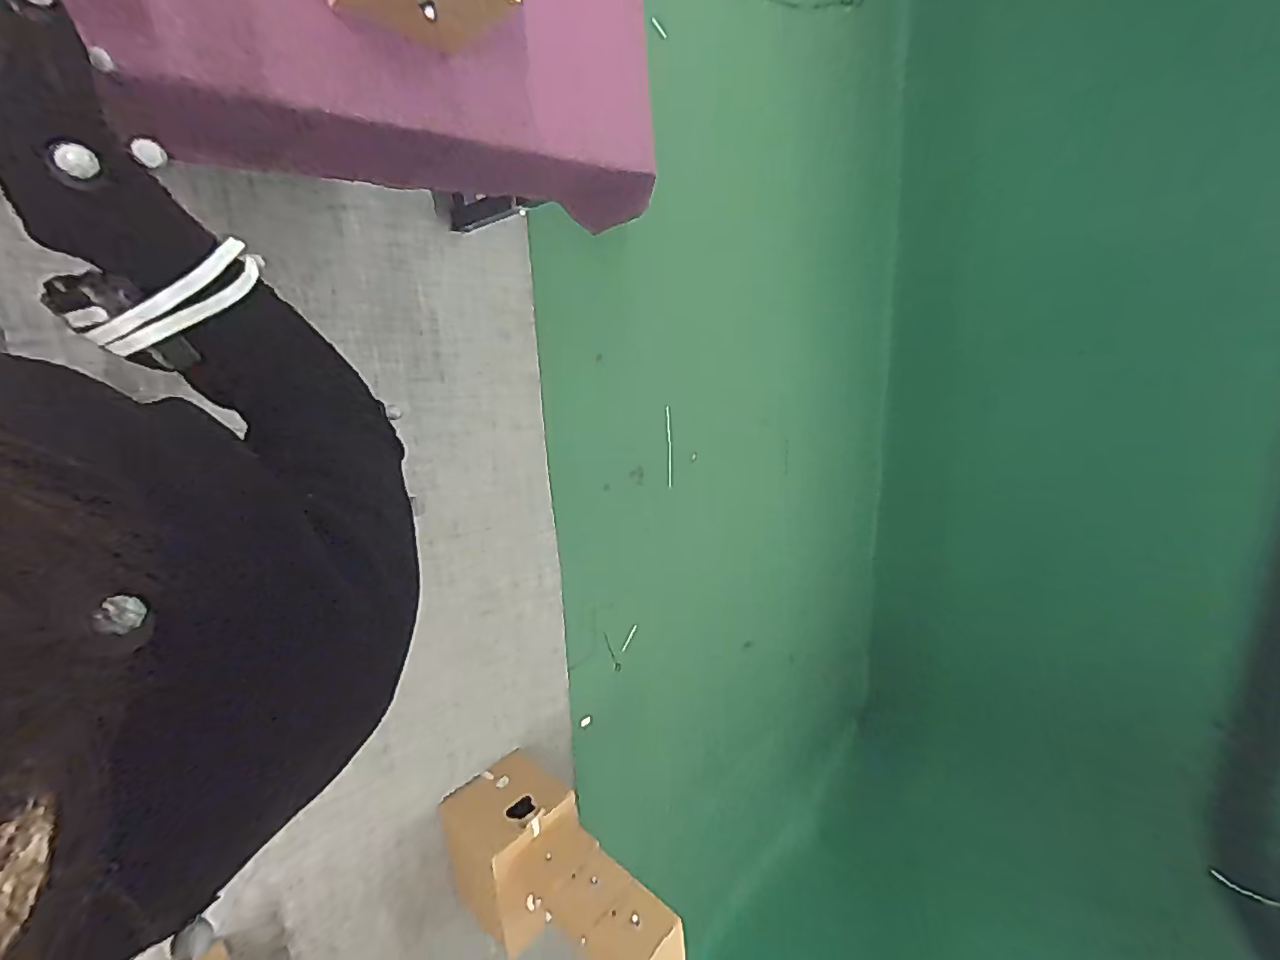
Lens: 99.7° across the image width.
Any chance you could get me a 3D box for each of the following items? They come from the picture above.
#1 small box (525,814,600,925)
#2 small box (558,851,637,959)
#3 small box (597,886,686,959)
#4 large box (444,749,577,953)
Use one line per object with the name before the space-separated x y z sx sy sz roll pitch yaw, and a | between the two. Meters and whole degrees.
small box | -0.236 1.180 1.651 0.179 0.176 0.168 -21 113 -44
small box | -0.116 1.209 1.543 0.168 0.176 0.179 -25 116 -41
small box | 0.002 1.229 1.431 0.168 0.176 0.179 -23 113 -43
large box | -0.420 1.220 1.822 0.320 0.320 0.408 -19 112 -44
